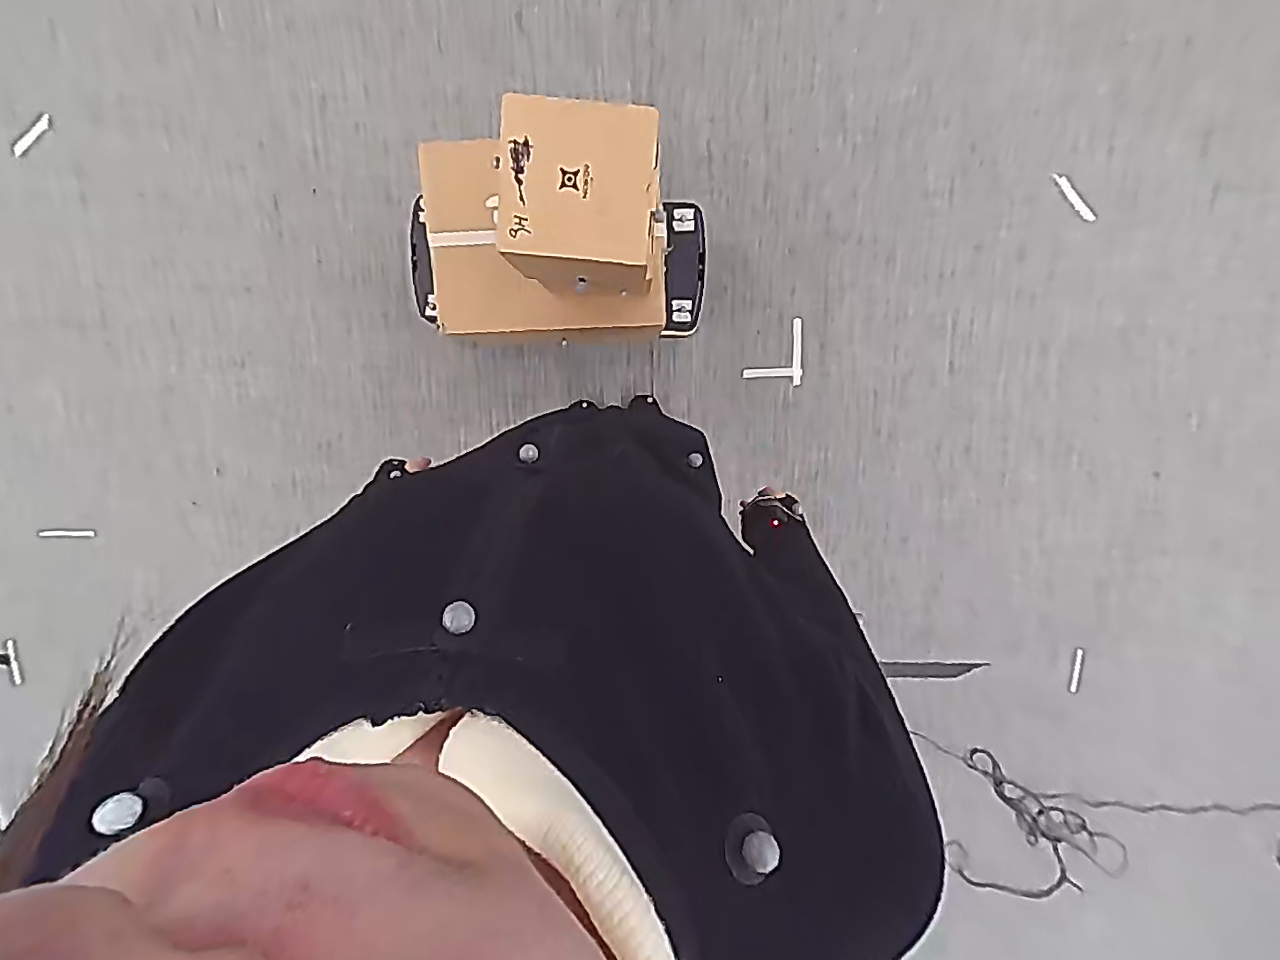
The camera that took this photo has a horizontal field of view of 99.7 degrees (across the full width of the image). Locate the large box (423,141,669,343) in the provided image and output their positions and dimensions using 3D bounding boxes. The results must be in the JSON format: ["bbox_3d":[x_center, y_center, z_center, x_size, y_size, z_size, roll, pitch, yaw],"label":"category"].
[{"bbox_3d":[-0.154,-0.444,1.067,0.408,0.320,0.320,-2,100,1],"label":"large box"}]

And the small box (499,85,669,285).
[{"bbox_3d":[-0.066,-0.346,0.670,0.179,0.176,0.168,5,100,-3],"label":"small box"}]

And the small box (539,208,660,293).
[{"bbox_3d":[-0.061,-0.386,0.830,0.179,0.176,0.168,1,101,0],"label":"small box"}]
